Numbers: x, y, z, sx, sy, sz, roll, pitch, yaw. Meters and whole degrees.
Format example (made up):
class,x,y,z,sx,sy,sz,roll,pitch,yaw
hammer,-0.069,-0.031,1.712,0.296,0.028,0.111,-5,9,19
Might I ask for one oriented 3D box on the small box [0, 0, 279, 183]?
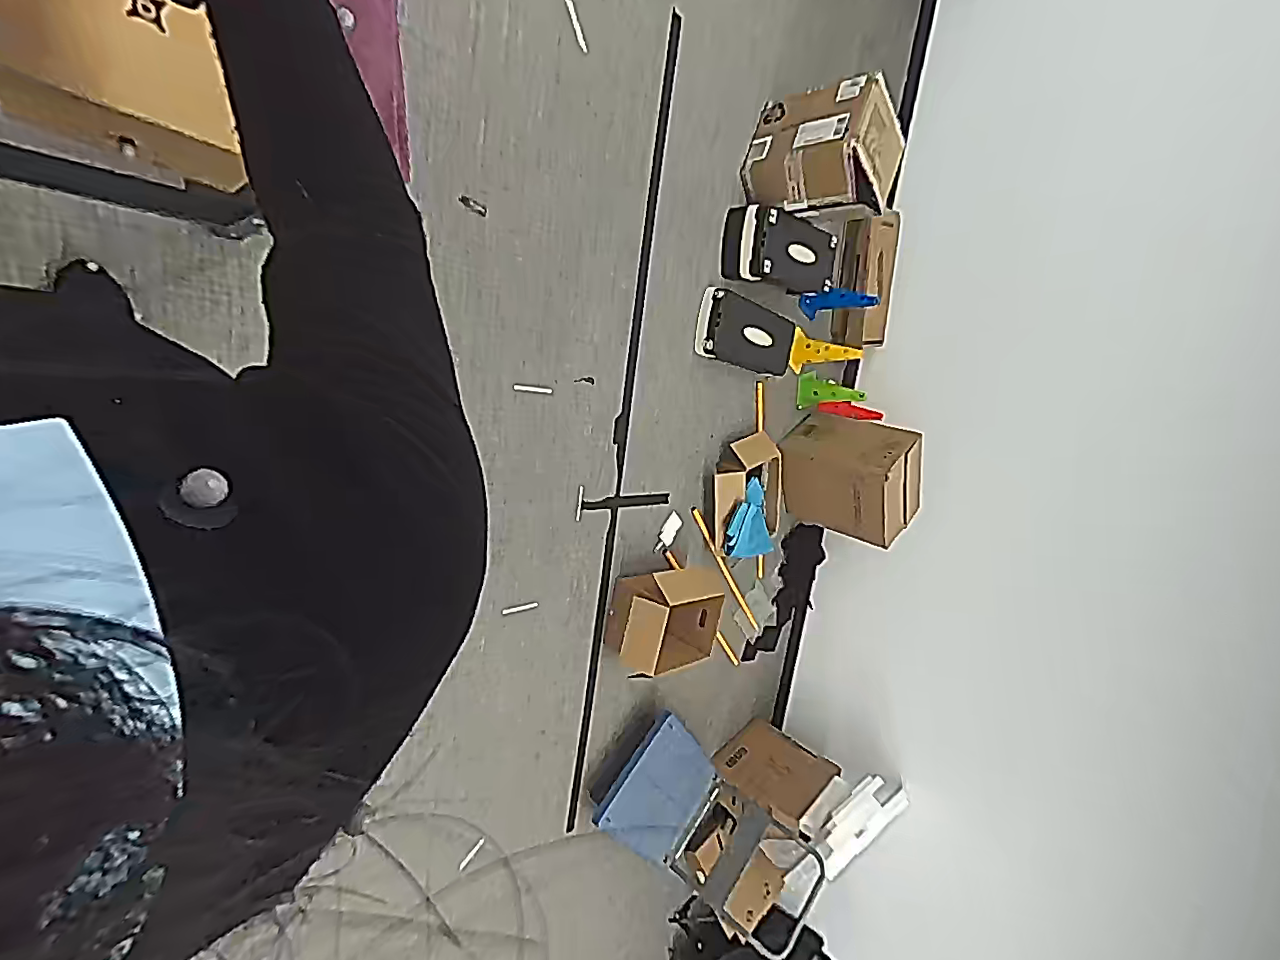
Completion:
class,x,y,z,sx,sy,sz,roll,pitch,yaw
small box,-0.427,-0.382,0.461,0.168,0.176,0.179,1,101,-47
